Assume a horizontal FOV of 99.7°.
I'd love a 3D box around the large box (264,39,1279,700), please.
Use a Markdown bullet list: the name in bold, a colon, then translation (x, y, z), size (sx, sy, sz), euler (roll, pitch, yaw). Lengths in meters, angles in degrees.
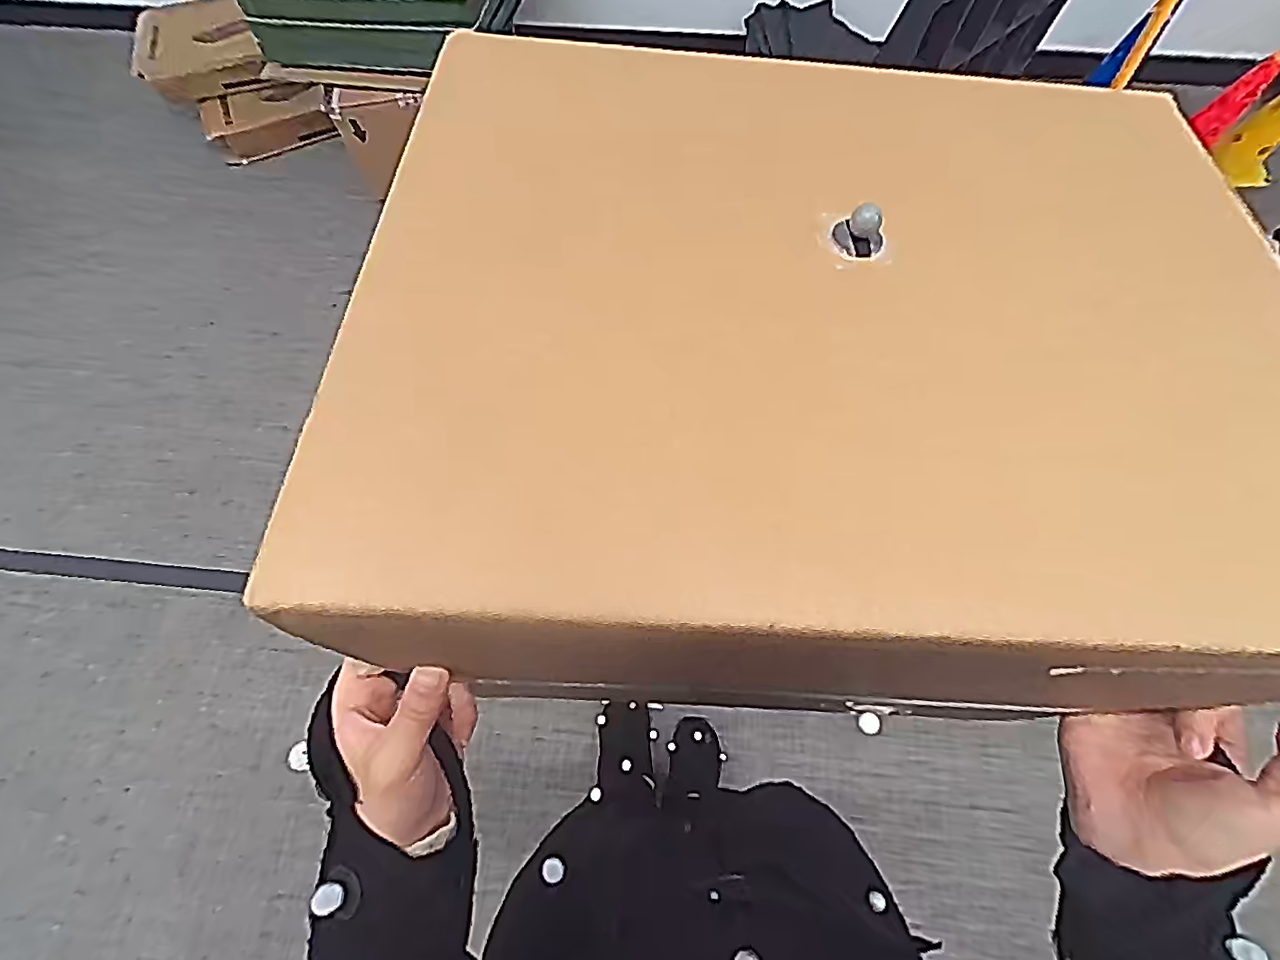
- **large box**: translation (0.079, -0.033, 0.362), size (0.408, 0.320, 0.320), euler (2, 65, -1)
